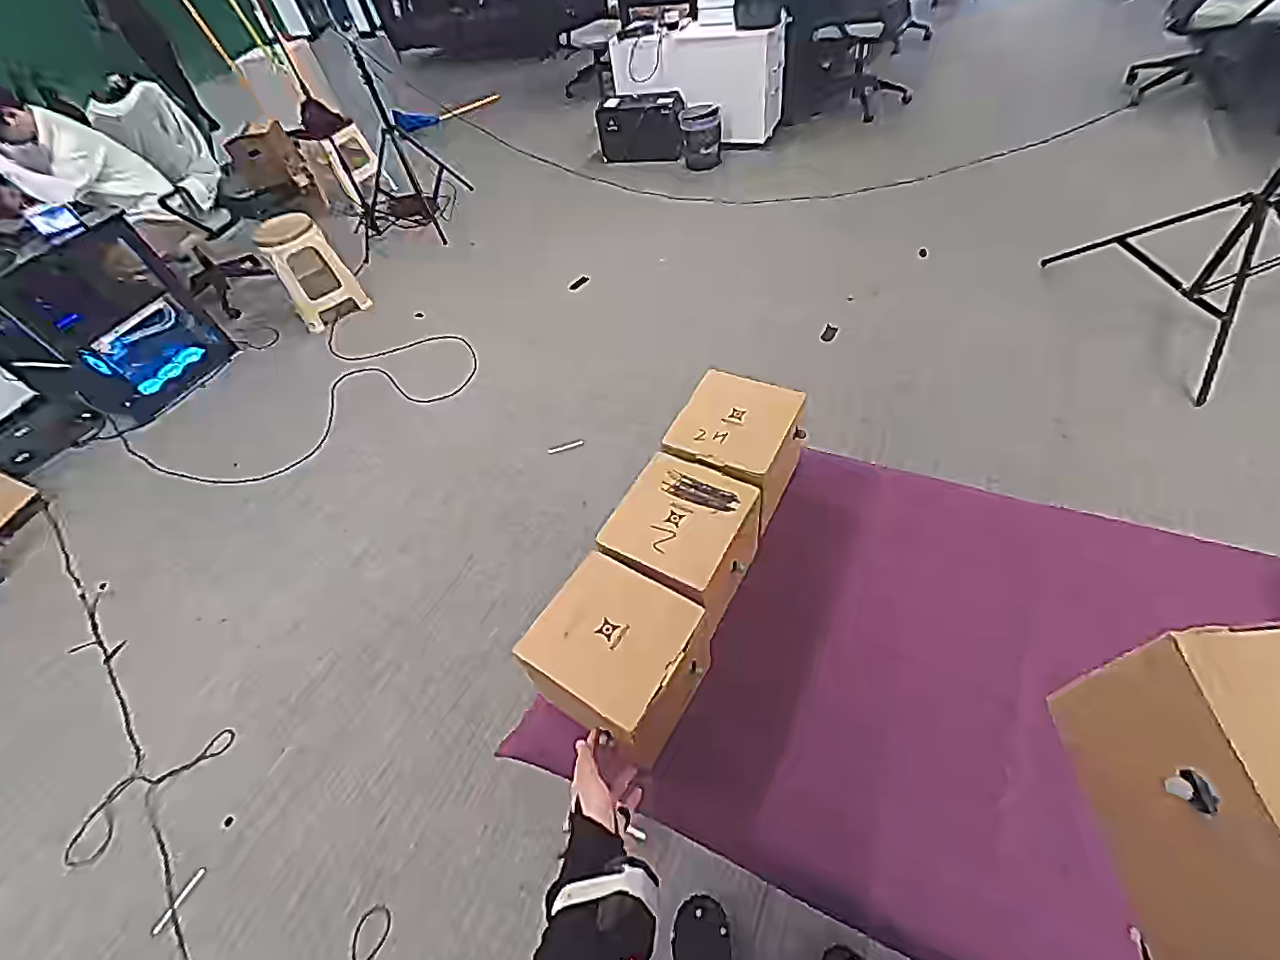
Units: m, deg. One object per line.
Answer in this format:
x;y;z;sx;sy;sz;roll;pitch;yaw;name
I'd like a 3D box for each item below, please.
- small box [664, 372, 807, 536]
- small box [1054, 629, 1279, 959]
0.155;-0.041;0.880;0.168;0.176;0.179;20;58;24;small box
0.394;0.197;0.317;0.168;0.176;0.179;-7;55;9;small box
